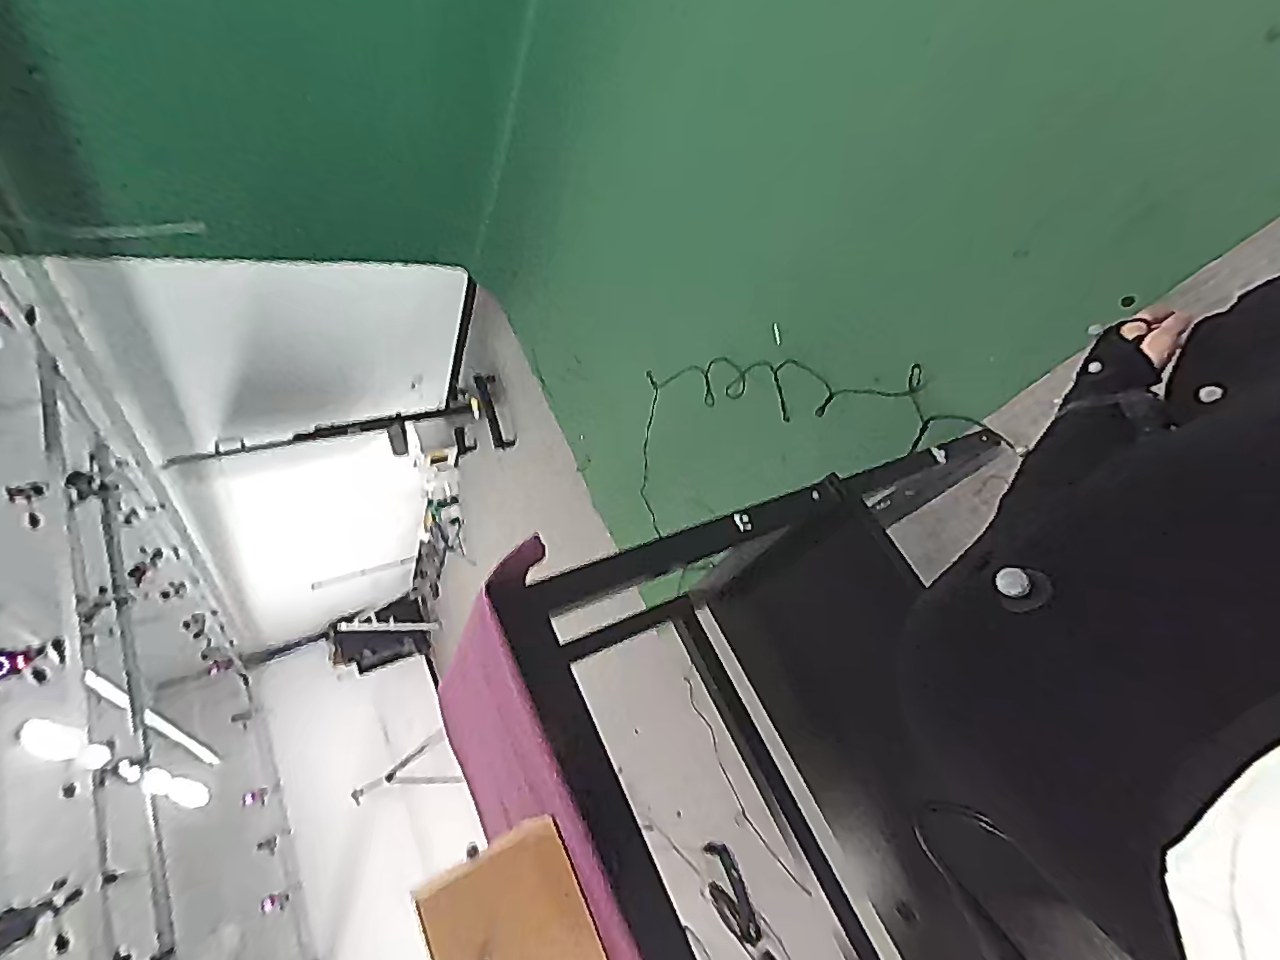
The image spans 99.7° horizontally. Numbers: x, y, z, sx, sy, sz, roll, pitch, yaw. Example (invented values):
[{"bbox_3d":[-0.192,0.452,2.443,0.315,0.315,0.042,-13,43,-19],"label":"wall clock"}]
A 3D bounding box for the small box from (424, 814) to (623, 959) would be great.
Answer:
[{"bbox_3d":[-0.149,0.539,0.665,0.179,0.176,0.168,60,145,20],"label":"small box"}]
